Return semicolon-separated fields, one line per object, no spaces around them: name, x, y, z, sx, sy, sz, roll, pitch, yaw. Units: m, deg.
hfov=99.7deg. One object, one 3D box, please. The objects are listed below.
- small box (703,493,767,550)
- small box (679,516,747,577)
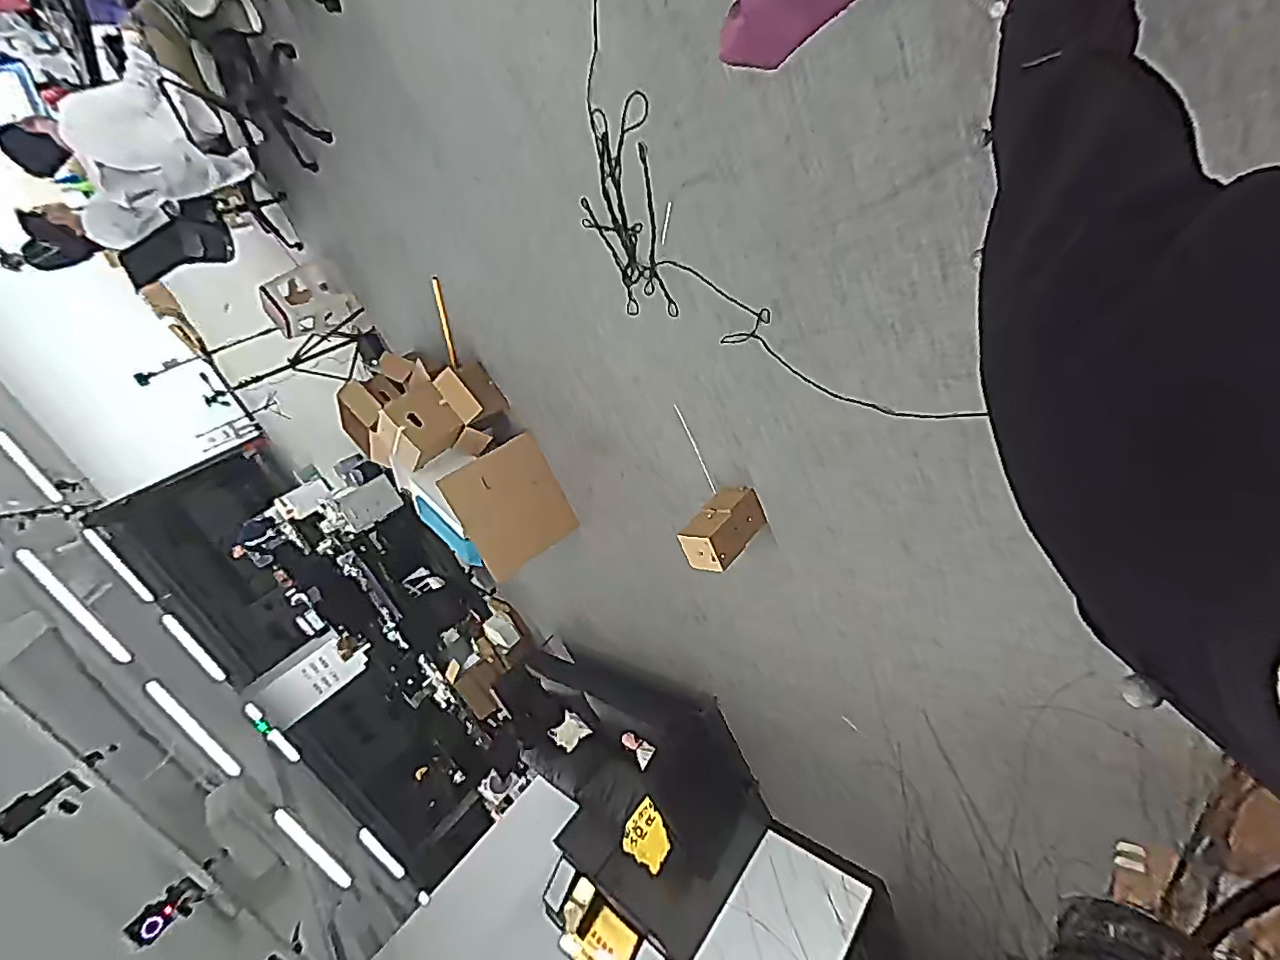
small box;0.396;0.165;2.231;0.168;0.176;0.179;-1;121;51
small box;0.293;0.256;2.143;0.179;0.176;0.168;1;123;51
